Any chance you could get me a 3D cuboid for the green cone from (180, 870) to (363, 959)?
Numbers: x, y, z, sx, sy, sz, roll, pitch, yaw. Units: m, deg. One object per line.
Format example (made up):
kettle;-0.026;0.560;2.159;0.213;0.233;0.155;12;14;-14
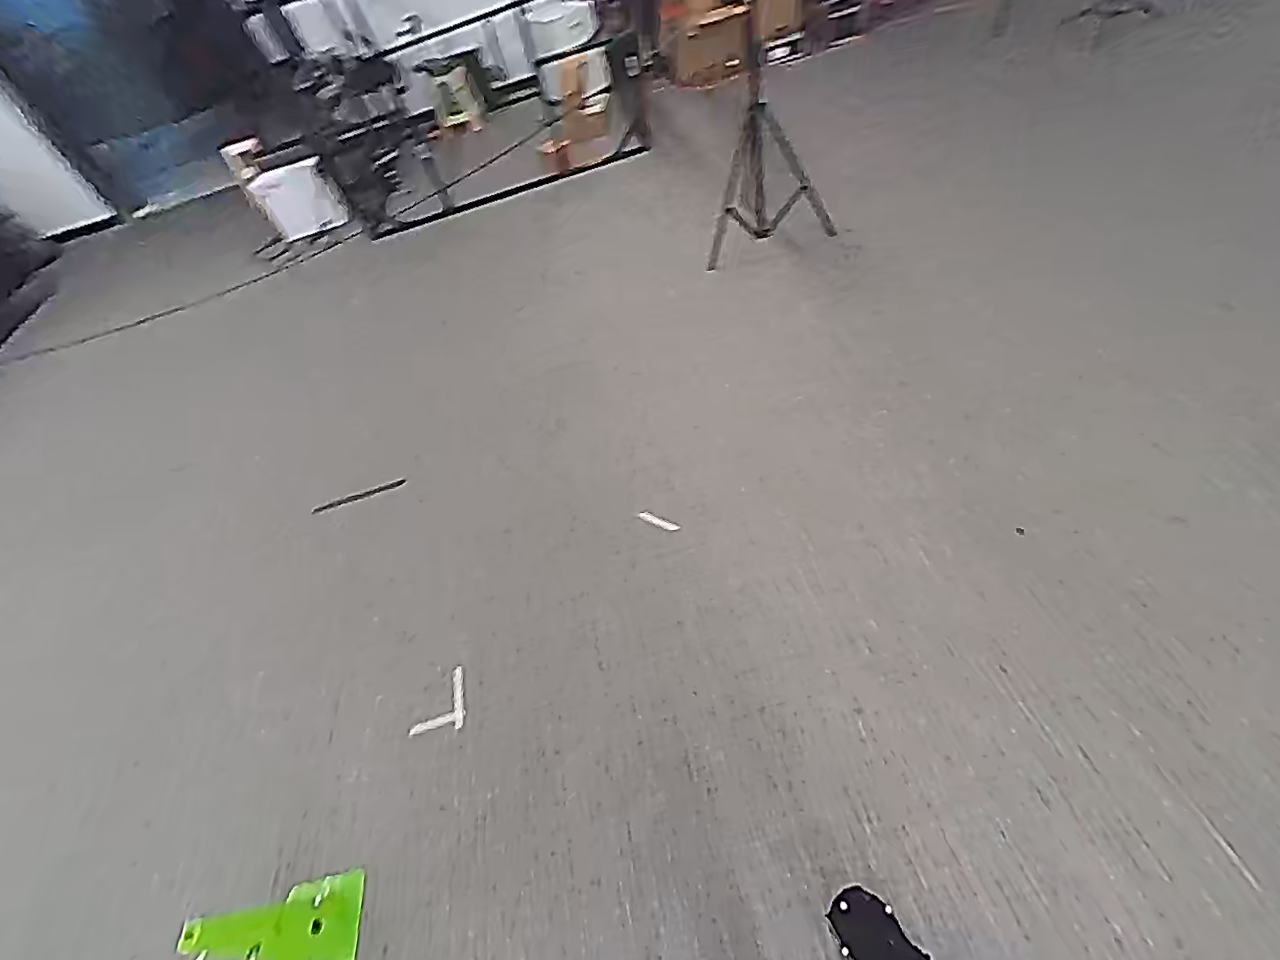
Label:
green cone;-0.784;0.936;1.125;0.200;0.368;0.202;-16;48;2
